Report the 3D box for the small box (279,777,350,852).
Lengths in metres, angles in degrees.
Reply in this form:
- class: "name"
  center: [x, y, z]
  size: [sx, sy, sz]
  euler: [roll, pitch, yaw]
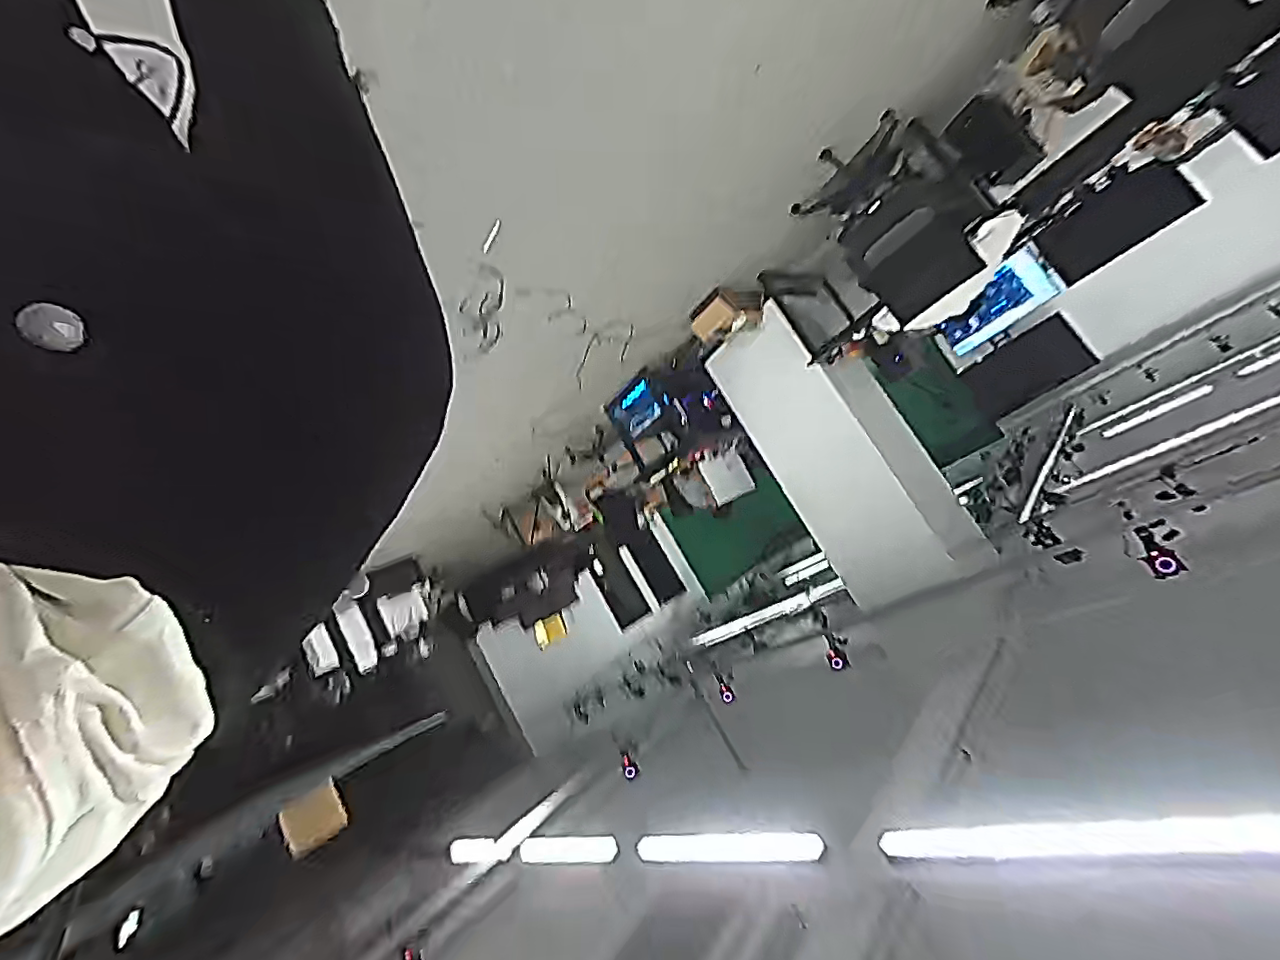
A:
- class: "small box"
  center: [-1.172, 1.199, 1.943]
  size: [0.168, 0.176, 0.179]
  euler: [-22, 166, -44]
